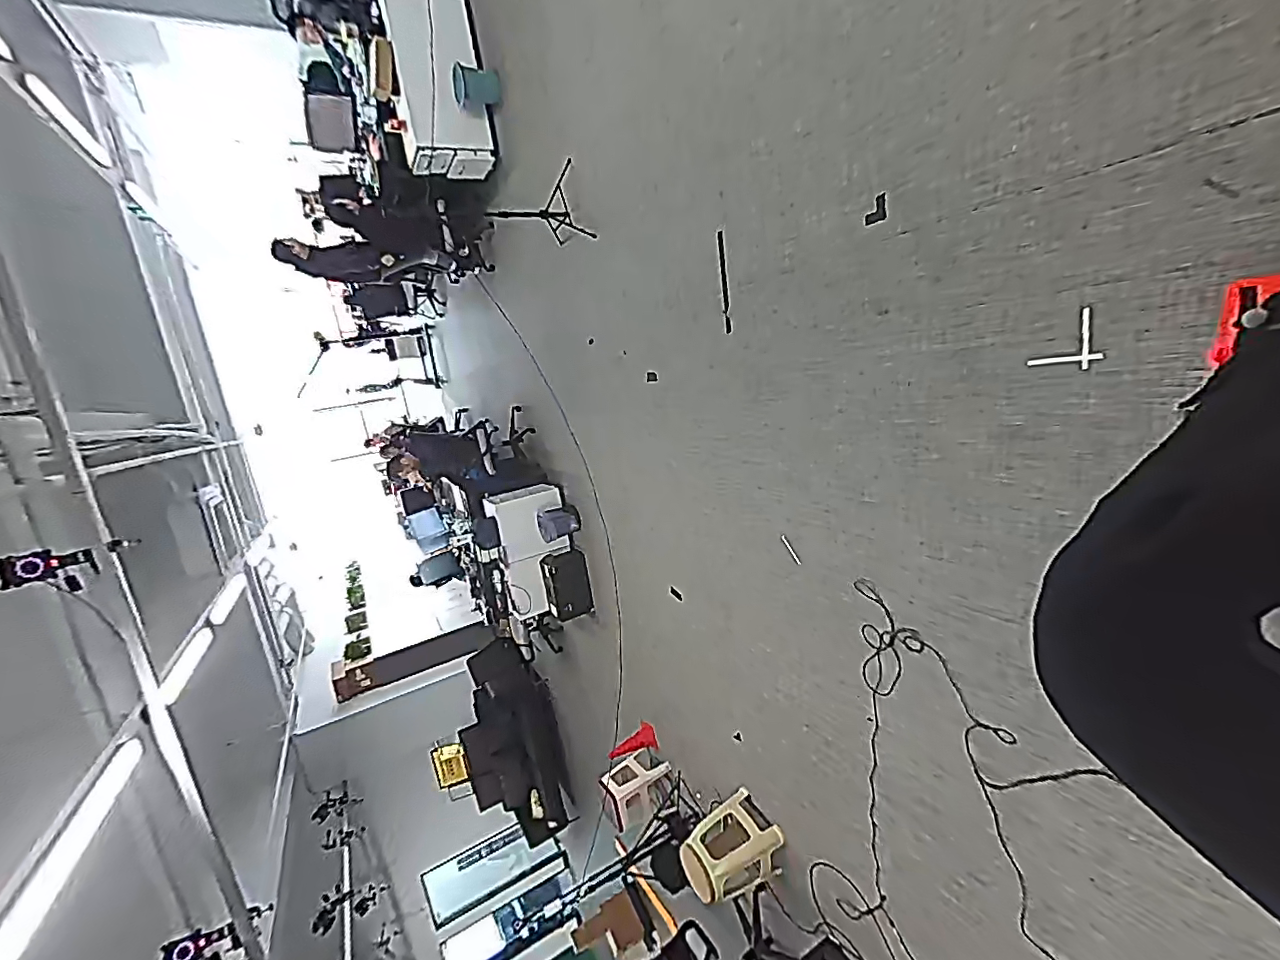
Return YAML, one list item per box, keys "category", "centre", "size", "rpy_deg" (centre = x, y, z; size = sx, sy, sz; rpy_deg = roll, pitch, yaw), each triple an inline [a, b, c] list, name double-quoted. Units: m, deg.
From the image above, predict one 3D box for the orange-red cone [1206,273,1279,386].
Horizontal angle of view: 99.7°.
- category: "orange-red cone"
  centre: [0.995, -0.226, 0.863]
  size: [0.199, 0.360, 0.198]
  rpy_deg: [23, 122, 59]
